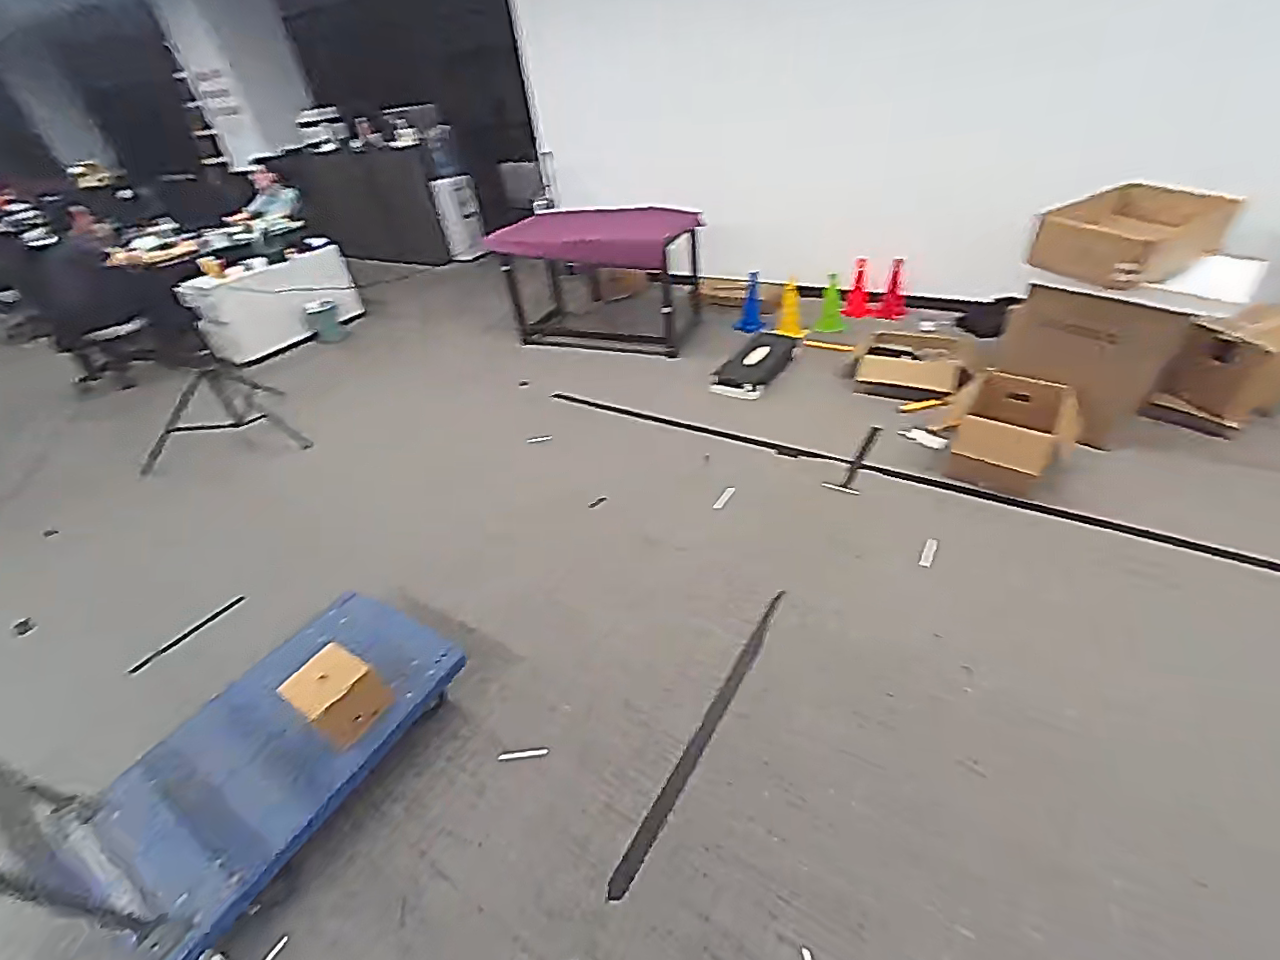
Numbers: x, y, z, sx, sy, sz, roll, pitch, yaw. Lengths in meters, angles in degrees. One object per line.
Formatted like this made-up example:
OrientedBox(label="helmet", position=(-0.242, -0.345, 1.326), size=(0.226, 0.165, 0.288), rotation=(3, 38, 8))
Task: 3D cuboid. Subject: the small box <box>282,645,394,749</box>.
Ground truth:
OrientedBox(label="small box", position=(-0.808, 0.586, 1.456), size=(0.179, 0.176, 0.168), rotation=(16, 43, 28))
